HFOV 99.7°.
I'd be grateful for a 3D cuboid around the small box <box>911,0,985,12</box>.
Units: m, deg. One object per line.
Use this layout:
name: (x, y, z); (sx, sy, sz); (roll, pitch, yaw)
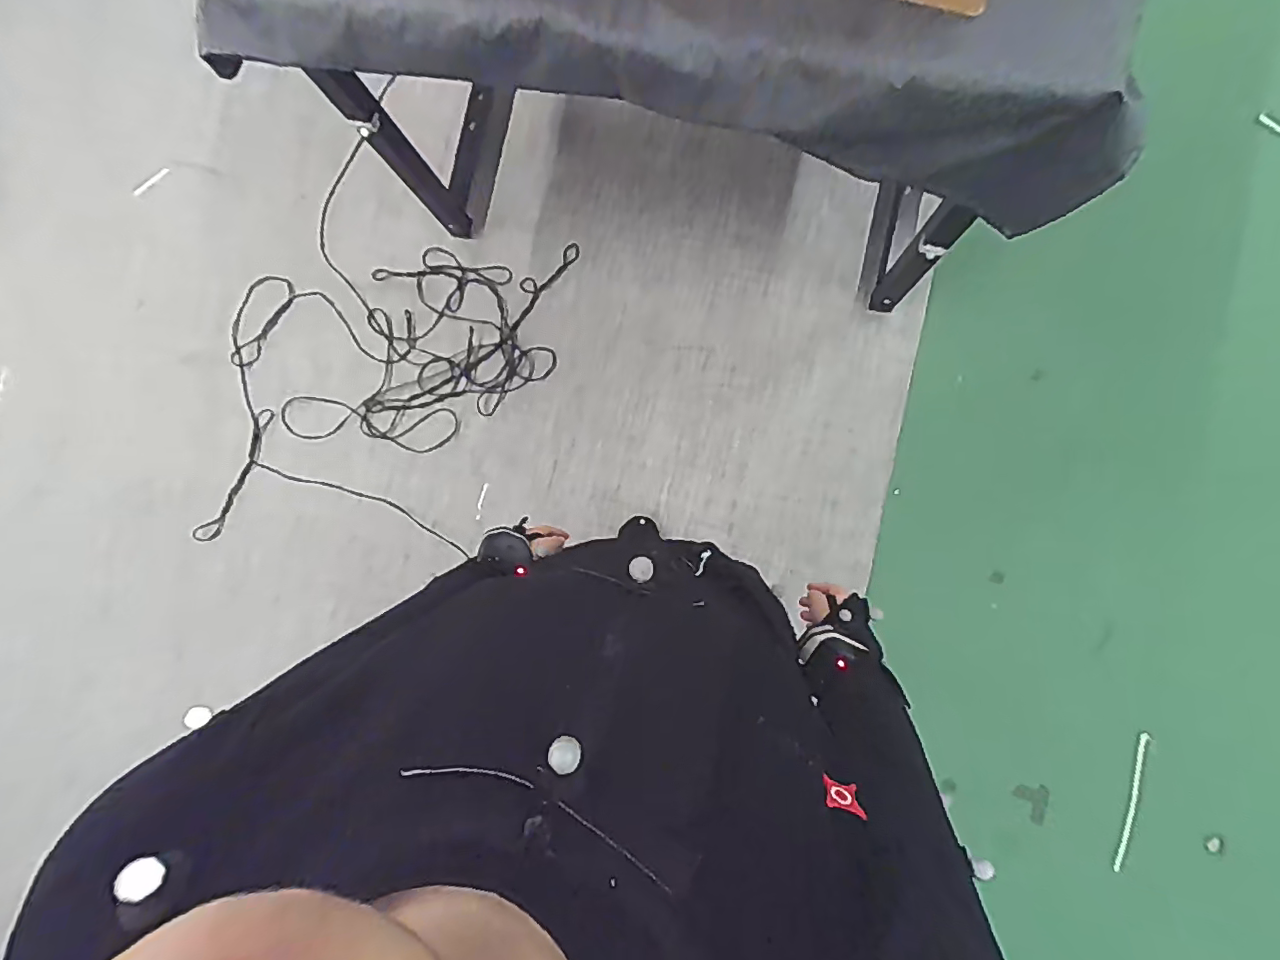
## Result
small box: (0.339, -0.657, 0.575); (0.179, 0.176, 0.168); (20, 88, 7)
